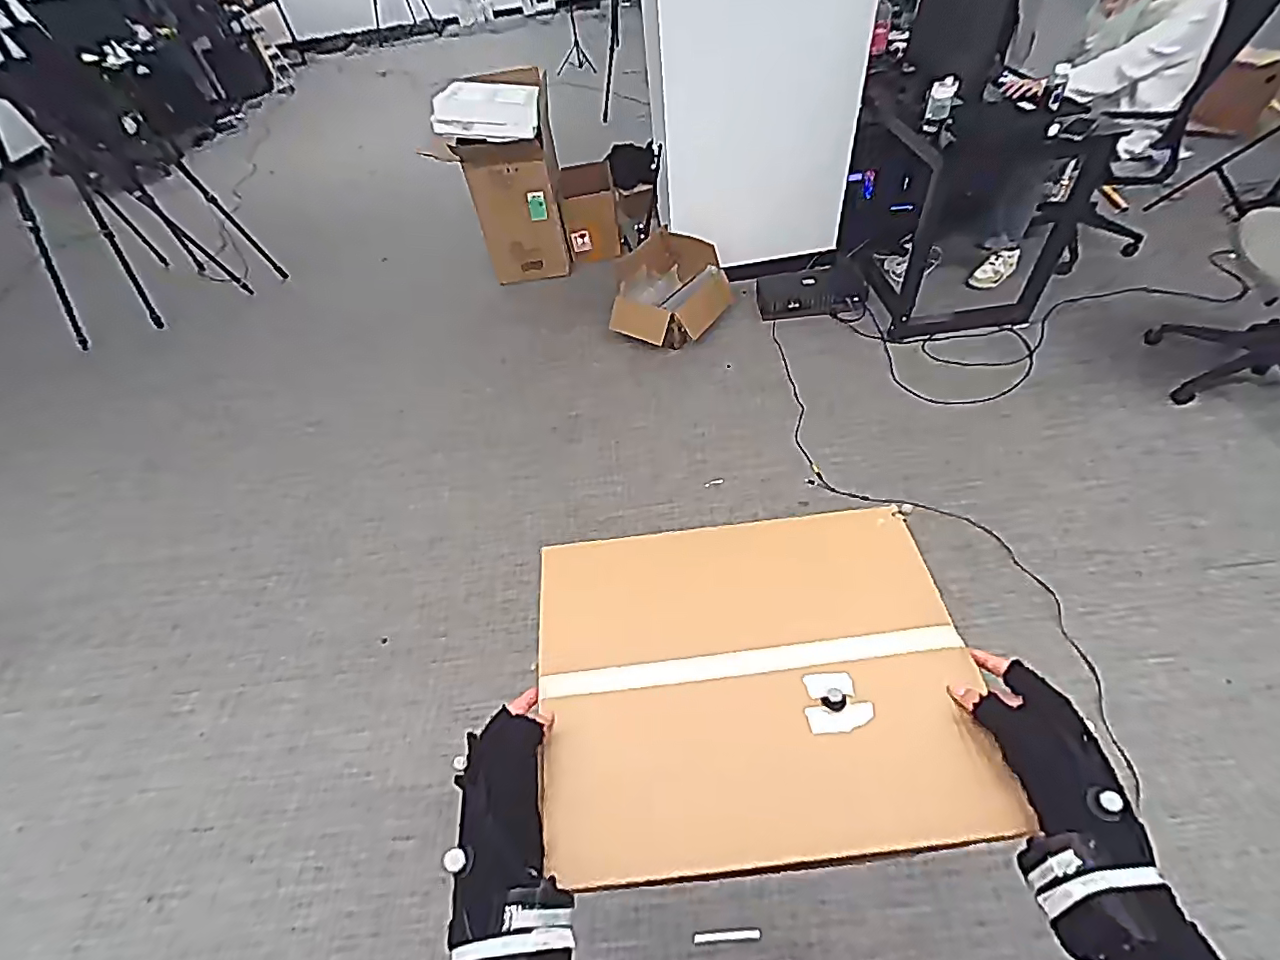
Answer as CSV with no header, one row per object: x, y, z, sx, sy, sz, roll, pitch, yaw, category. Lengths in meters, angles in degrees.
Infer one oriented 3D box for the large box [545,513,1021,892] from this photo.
0.113,0.273,0.647,0.408,0.320,0.320,-7,52,0,large box
